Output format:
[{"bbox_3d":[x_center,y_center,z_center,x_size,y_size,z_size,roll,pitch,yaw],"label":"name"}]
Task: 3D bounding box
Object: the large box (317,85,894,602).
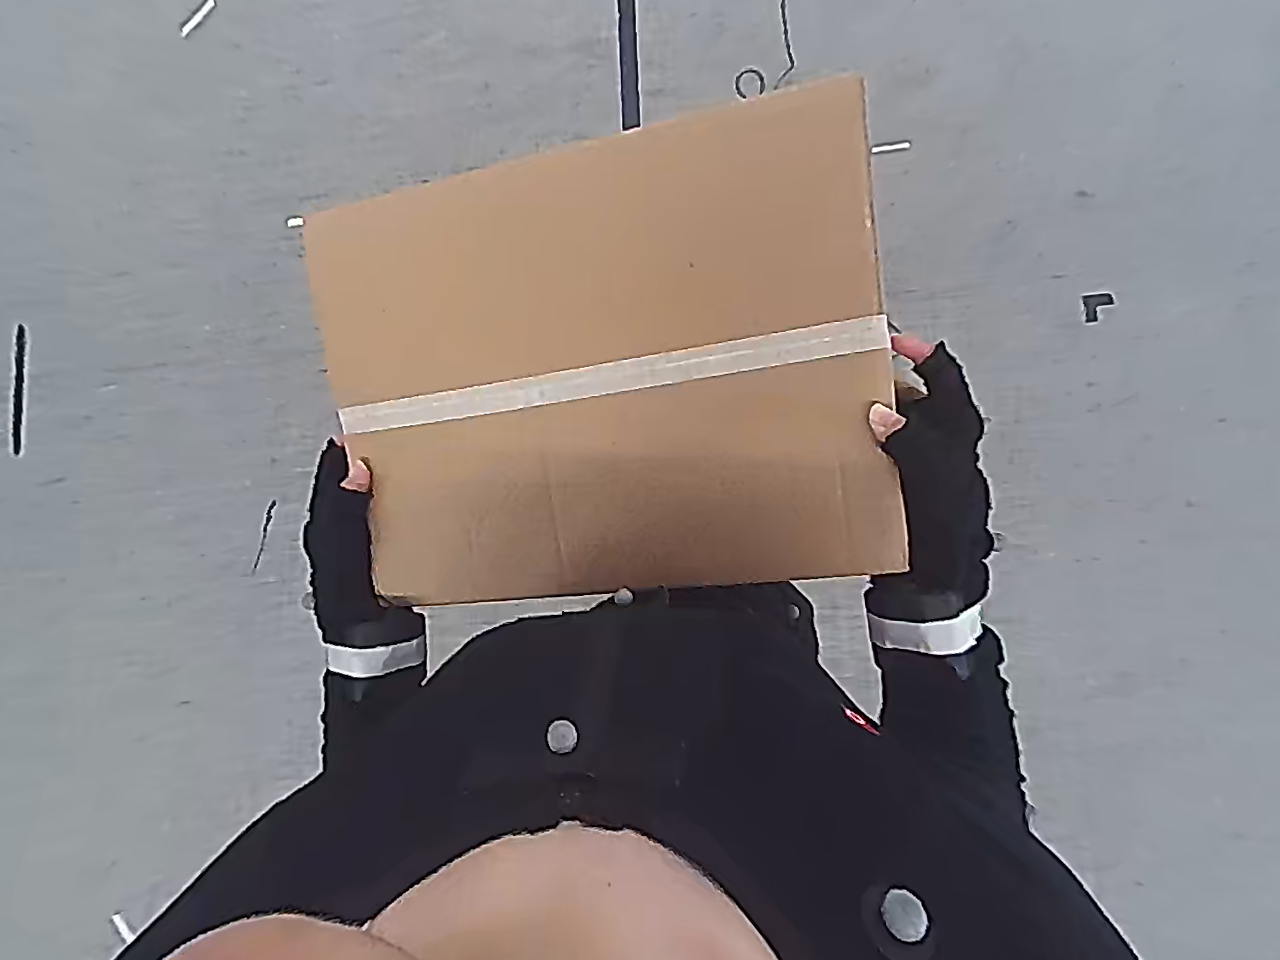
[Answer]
[{"bbox_3d":[-0.008,-0.093,0.538,0.408,0.320,0.320,-7,96,13],"label":"large box"}]
